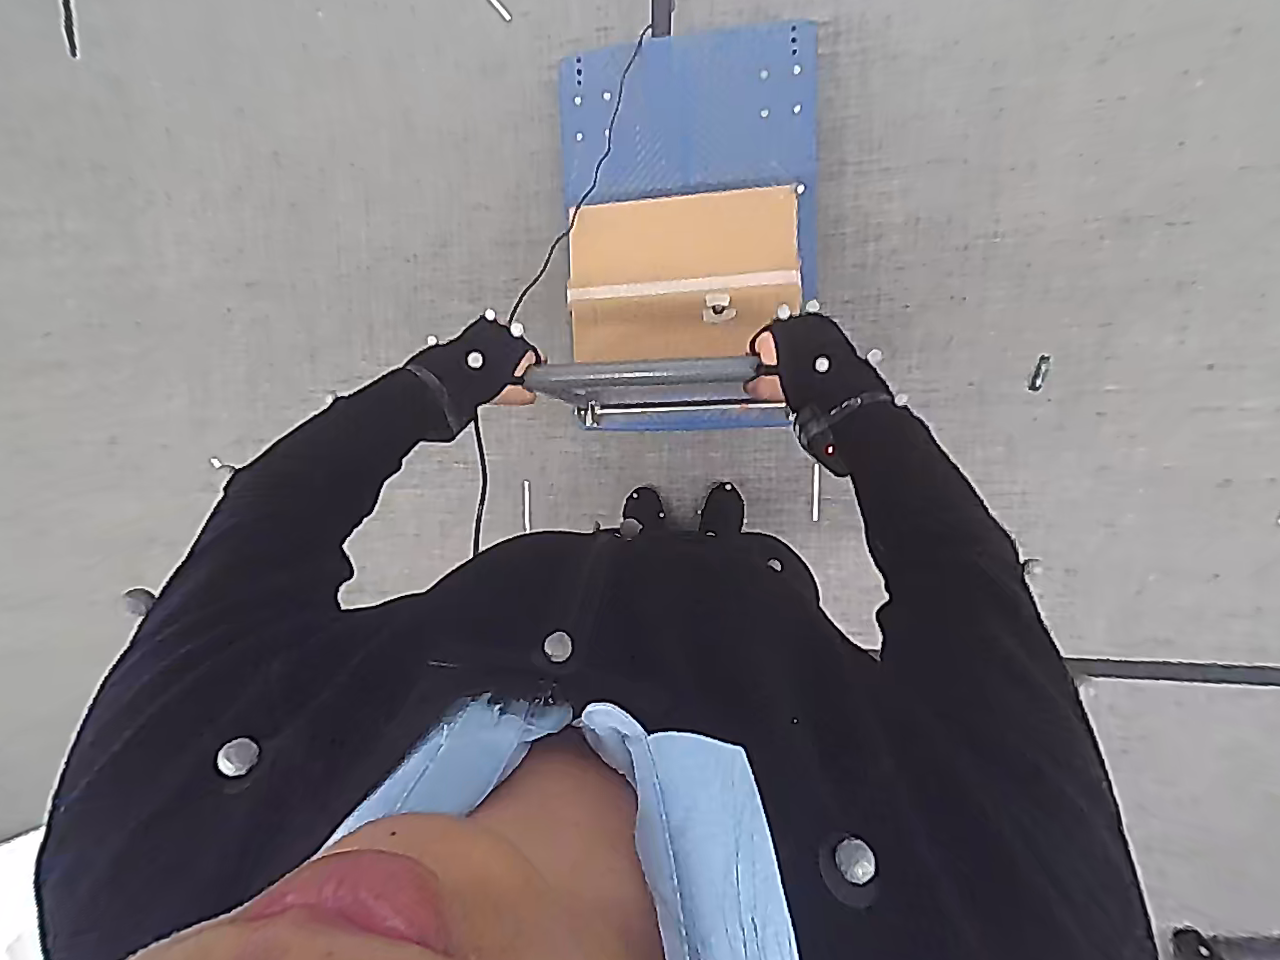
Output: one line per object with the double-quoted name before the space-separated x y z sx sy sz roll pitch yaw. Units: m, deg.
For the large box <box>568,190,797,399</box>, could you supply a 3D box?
"large box" 0.091 -0.343 1.104 0.408 0.320 0.320 -1 94 9
